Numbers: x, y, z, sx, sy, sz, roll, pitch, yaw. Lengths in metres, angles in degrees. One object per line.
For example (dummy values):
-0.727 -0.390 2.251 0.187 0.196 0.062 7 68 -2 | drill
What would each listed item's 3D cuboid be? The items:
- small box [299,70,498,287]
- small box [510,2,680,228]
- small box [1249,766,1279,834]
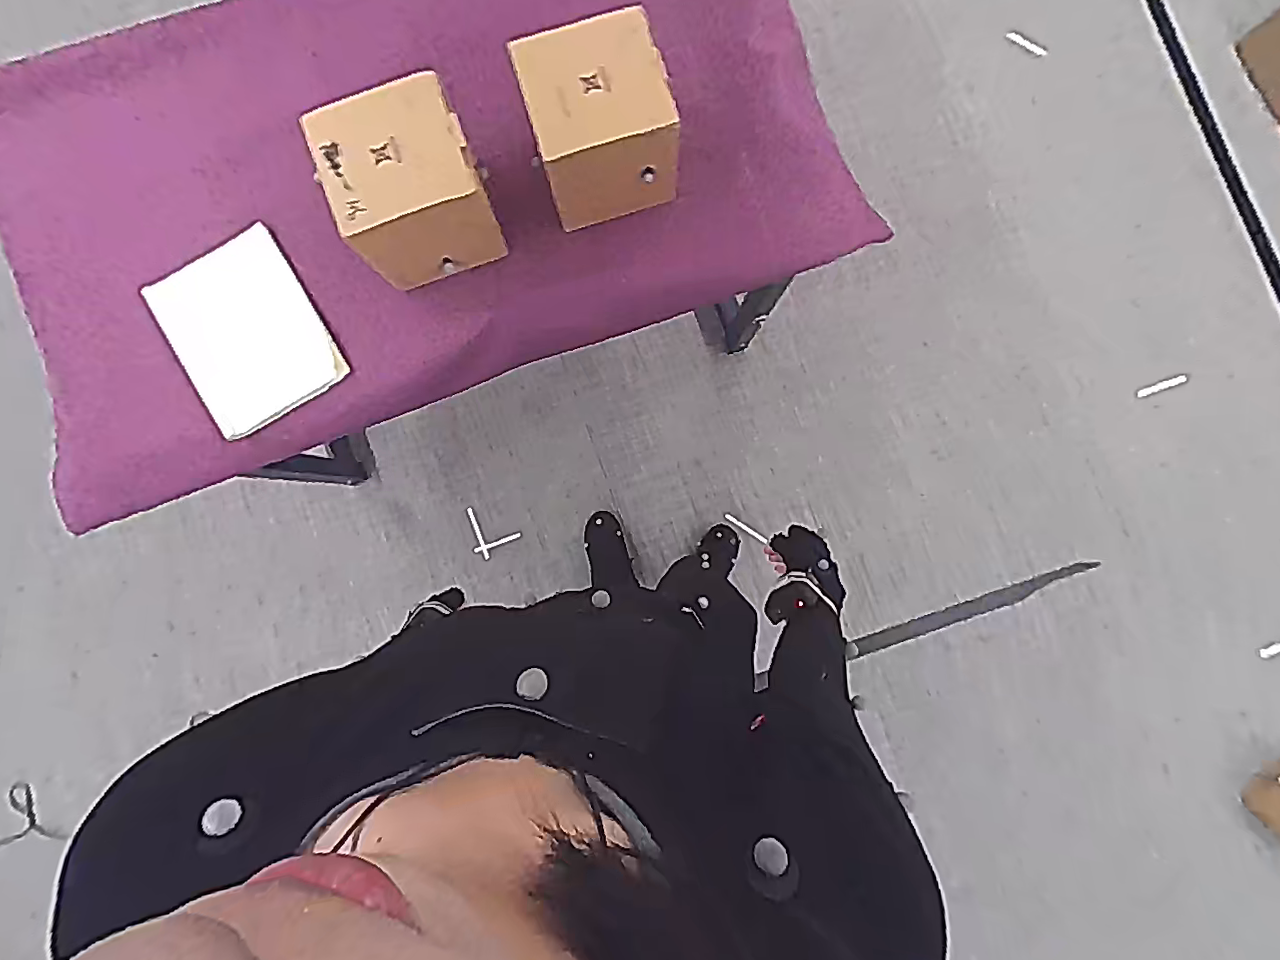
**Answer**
-0.305 -0.390 0.729 0.179 0.176 0.168 -20 86 -2 | small box
-0.055 -0.481 0.738 0.179 0.176 0.168 -17 85 0 | small box
1.785 0.883 1.406 0.168 0.176 0.179 -42 87 -3 | small box
